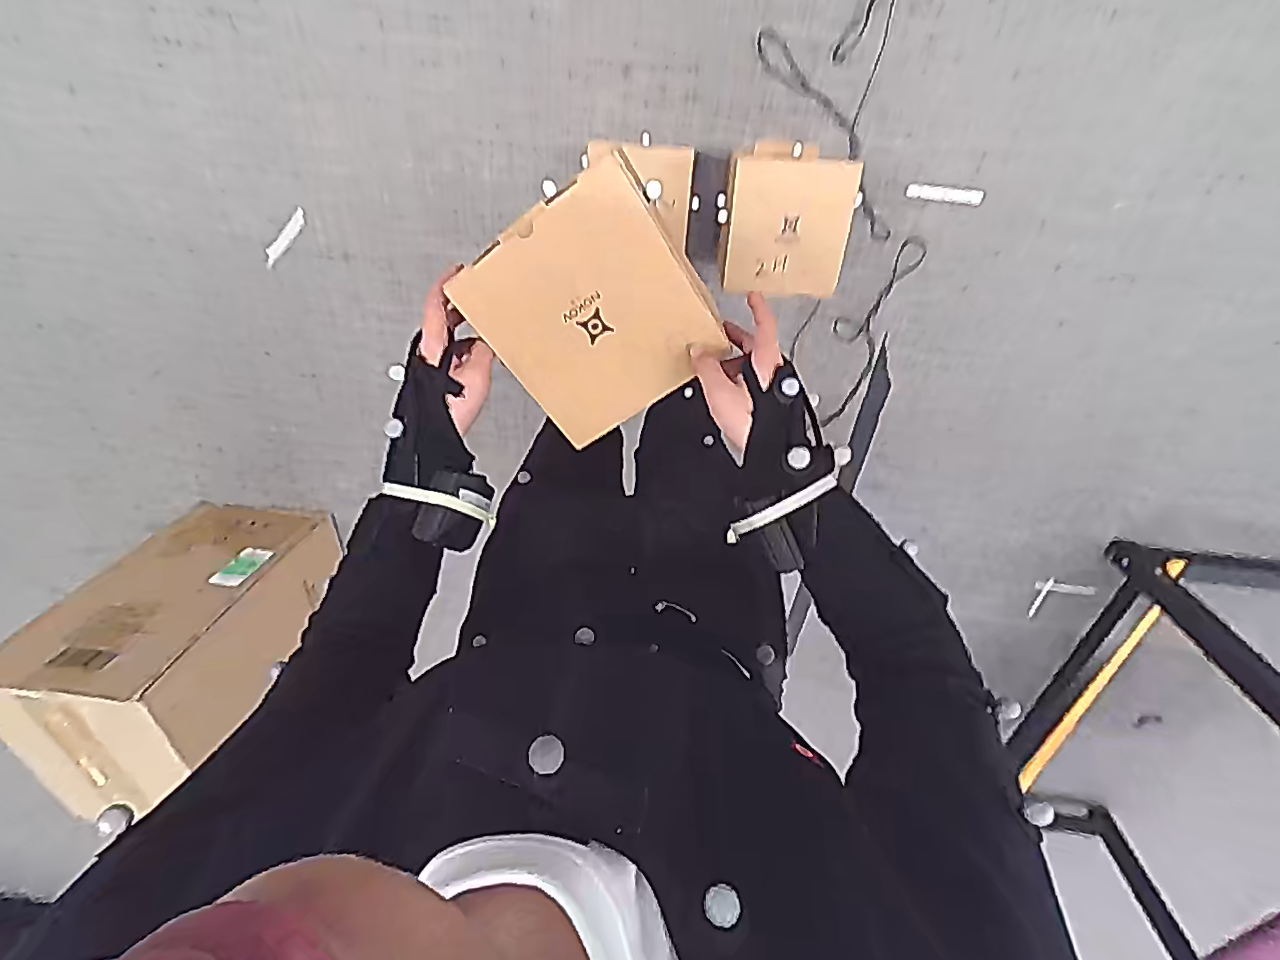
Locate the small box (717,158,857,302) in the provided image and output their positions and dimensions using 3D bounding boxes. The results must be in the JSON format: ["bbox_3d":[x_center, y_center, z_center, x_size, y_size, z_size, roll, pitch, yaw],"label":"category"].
[{"bbox_3d":[0.209,-0.387,0.826,0.168,0.176,0.179,6,122,4],"label":"small box"}]

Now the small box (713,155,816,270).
[{"bbox_3d":[0.224,-0.473,0.966,0.168,0.176,0.179,7,123,2],"label":"small box"}]
